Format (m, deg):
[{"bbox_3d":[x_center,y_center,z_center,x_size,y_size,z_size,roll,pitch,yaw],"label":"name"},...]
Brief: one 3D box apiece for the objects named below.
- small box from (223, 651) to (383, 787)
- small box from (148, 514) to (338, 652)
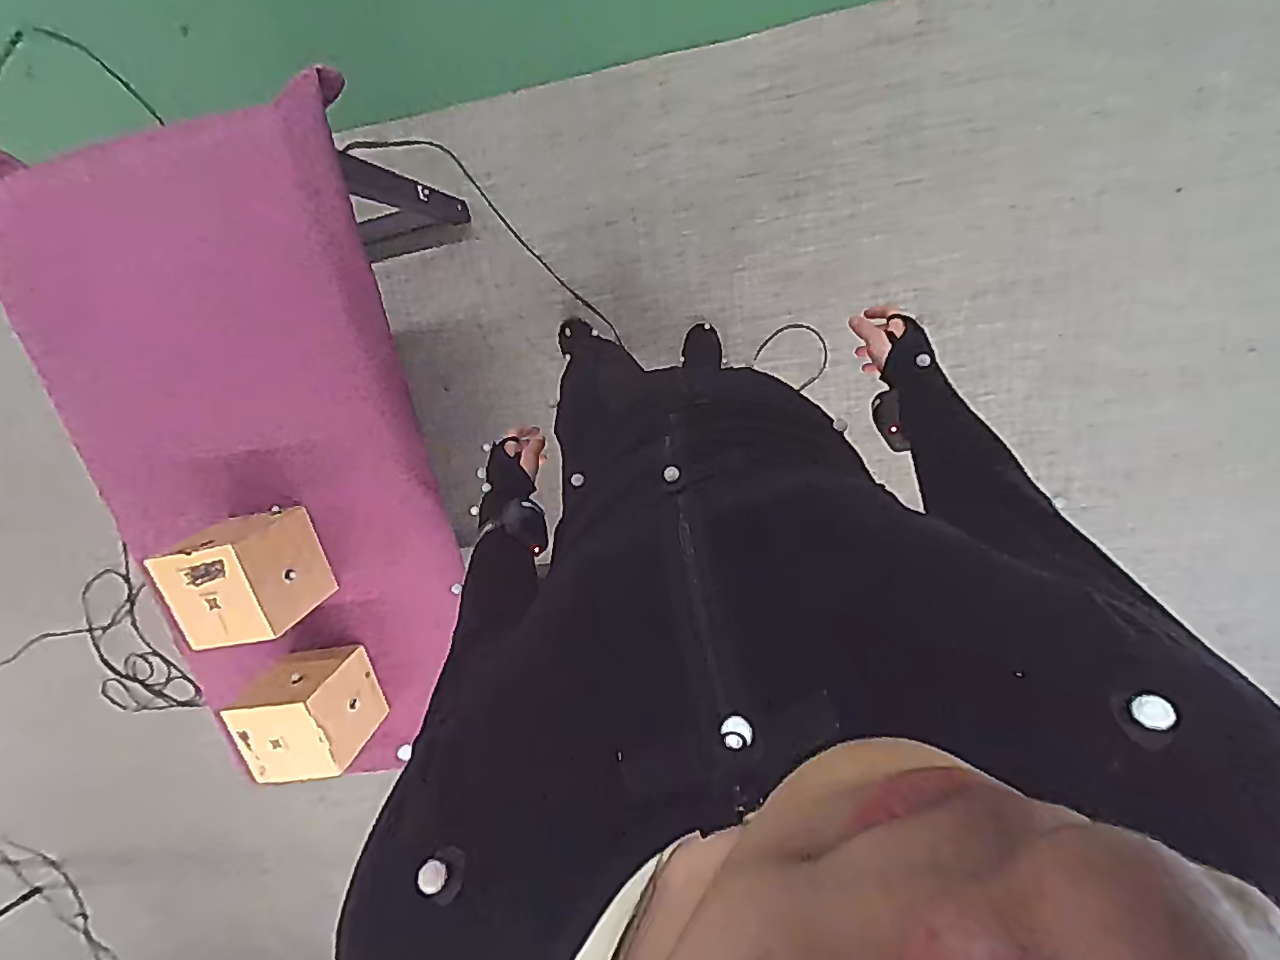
[{"bbox_3d":[-0.617,0.443,1.022,0.179,0.176,0.168,-10,106,9],"label":"small box"},{"bbox_3d":[-0.673,0.168,0.939,0.168,0.176,0.179,-10,108,9],"label":"small box"}]
